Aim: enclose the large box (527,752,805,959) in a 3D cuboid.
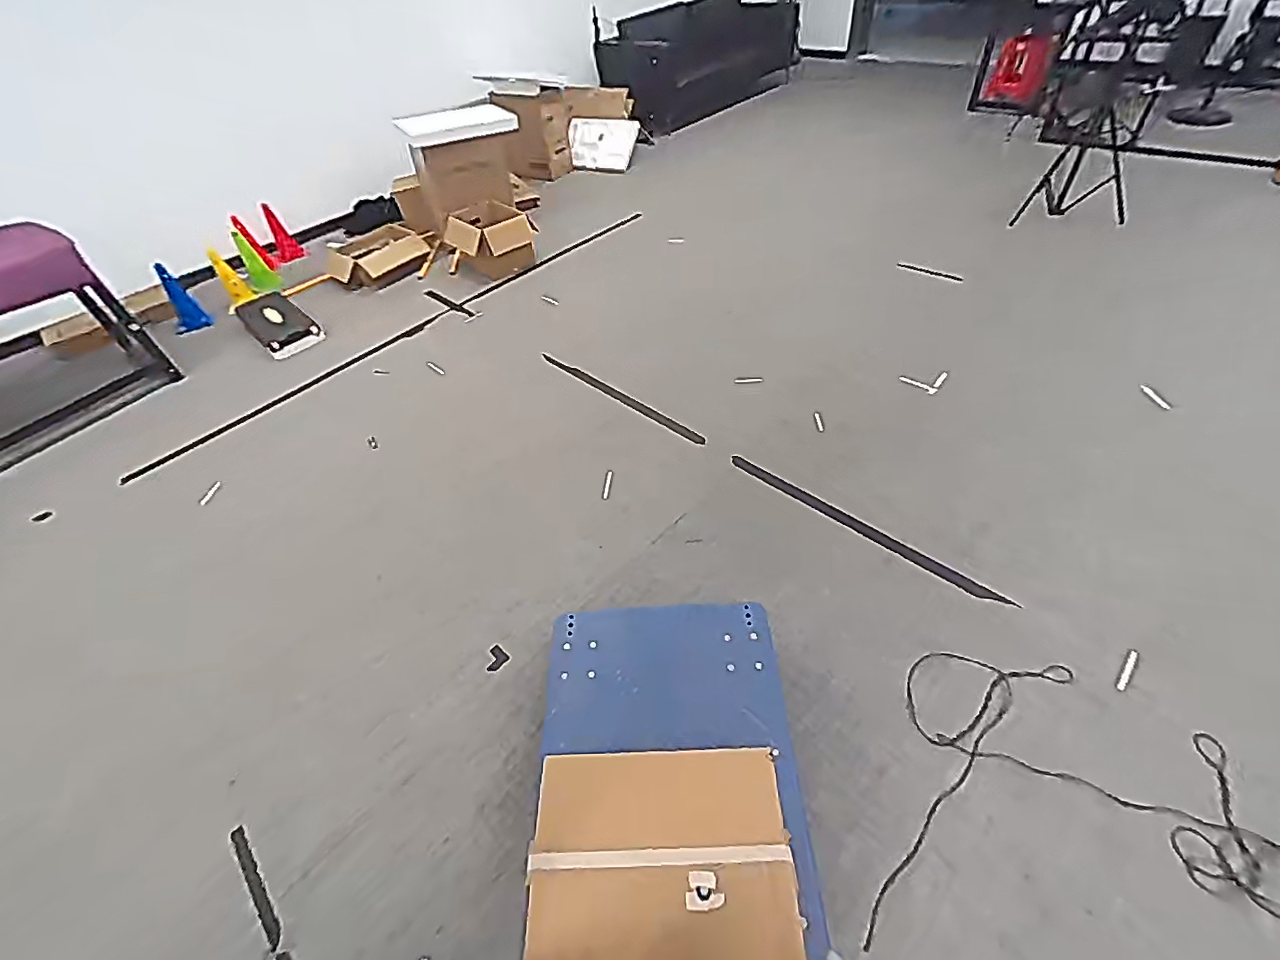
[{"bbox_3d":[0.040,0.703,0.953,0.408,0.320,0.320,-4,47,2],"label":"large box"}]
